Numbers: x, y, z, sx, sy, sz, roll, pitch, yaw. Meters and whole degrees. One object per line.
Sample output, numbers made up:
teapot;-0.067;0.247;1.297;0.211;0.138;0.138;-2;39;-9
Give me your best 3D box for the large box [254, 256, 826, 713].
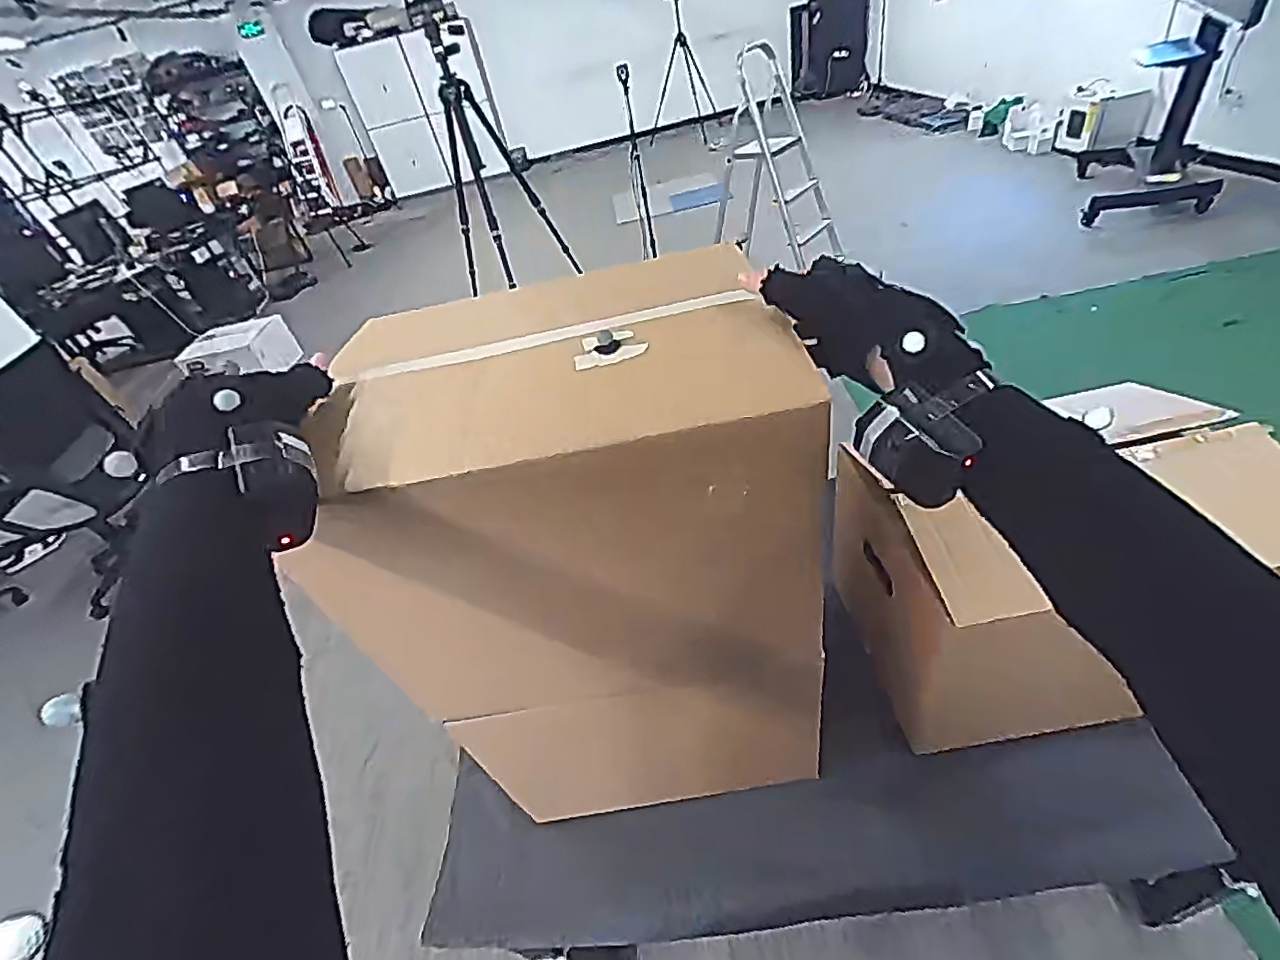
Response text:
large box;-0.059;0.004;0.568;0.408;0.320;0.320;-10;41;3
